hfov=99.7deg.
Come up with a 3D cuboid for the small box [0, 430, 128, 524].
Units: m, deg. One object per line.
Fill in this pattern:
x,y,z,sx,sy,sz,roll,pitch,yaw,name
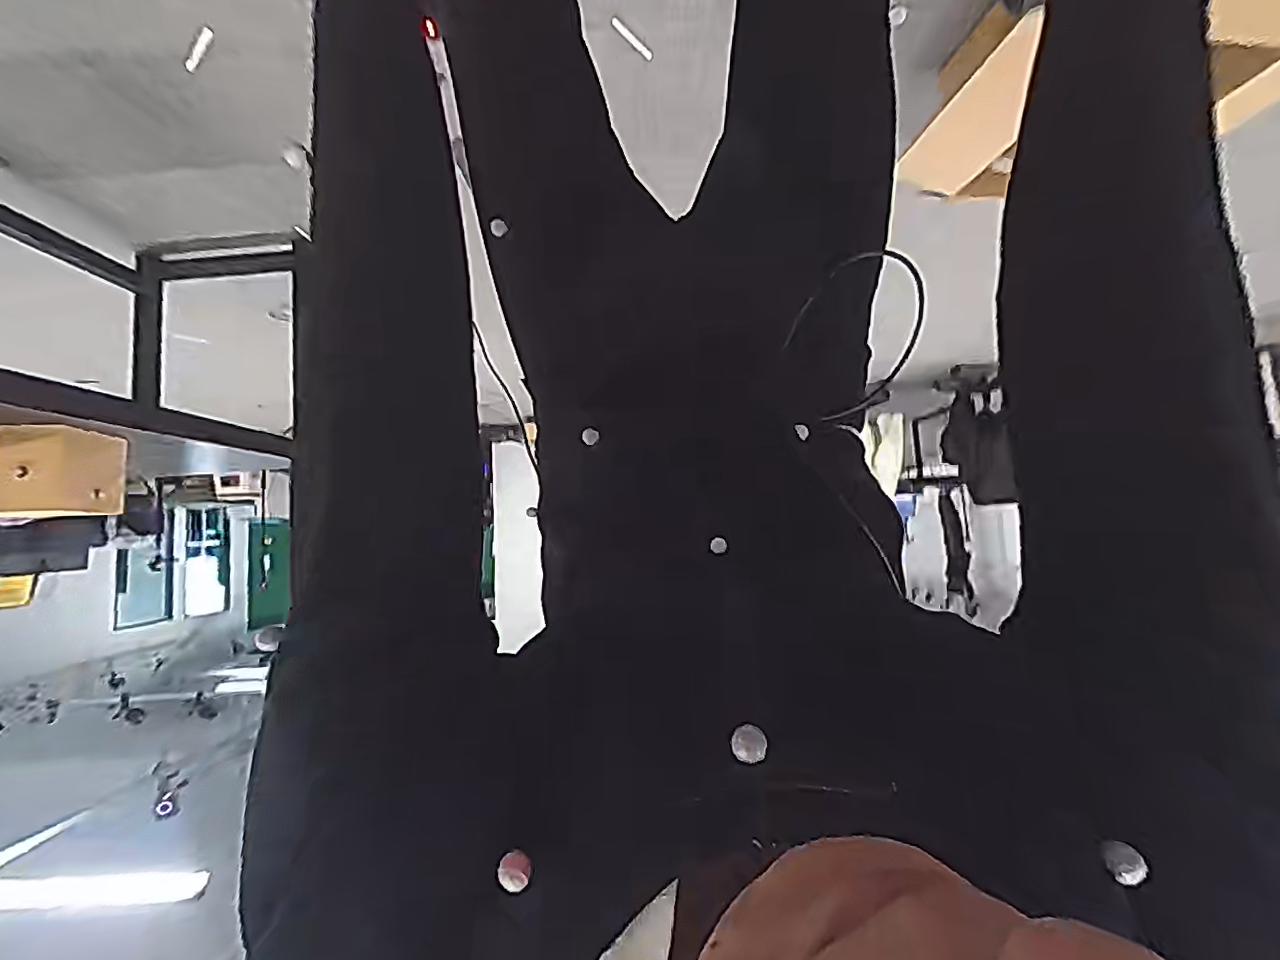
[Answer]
-1.172,-0.006,1.071,0.168,0.176,0.179,-2,176,-13,small box
